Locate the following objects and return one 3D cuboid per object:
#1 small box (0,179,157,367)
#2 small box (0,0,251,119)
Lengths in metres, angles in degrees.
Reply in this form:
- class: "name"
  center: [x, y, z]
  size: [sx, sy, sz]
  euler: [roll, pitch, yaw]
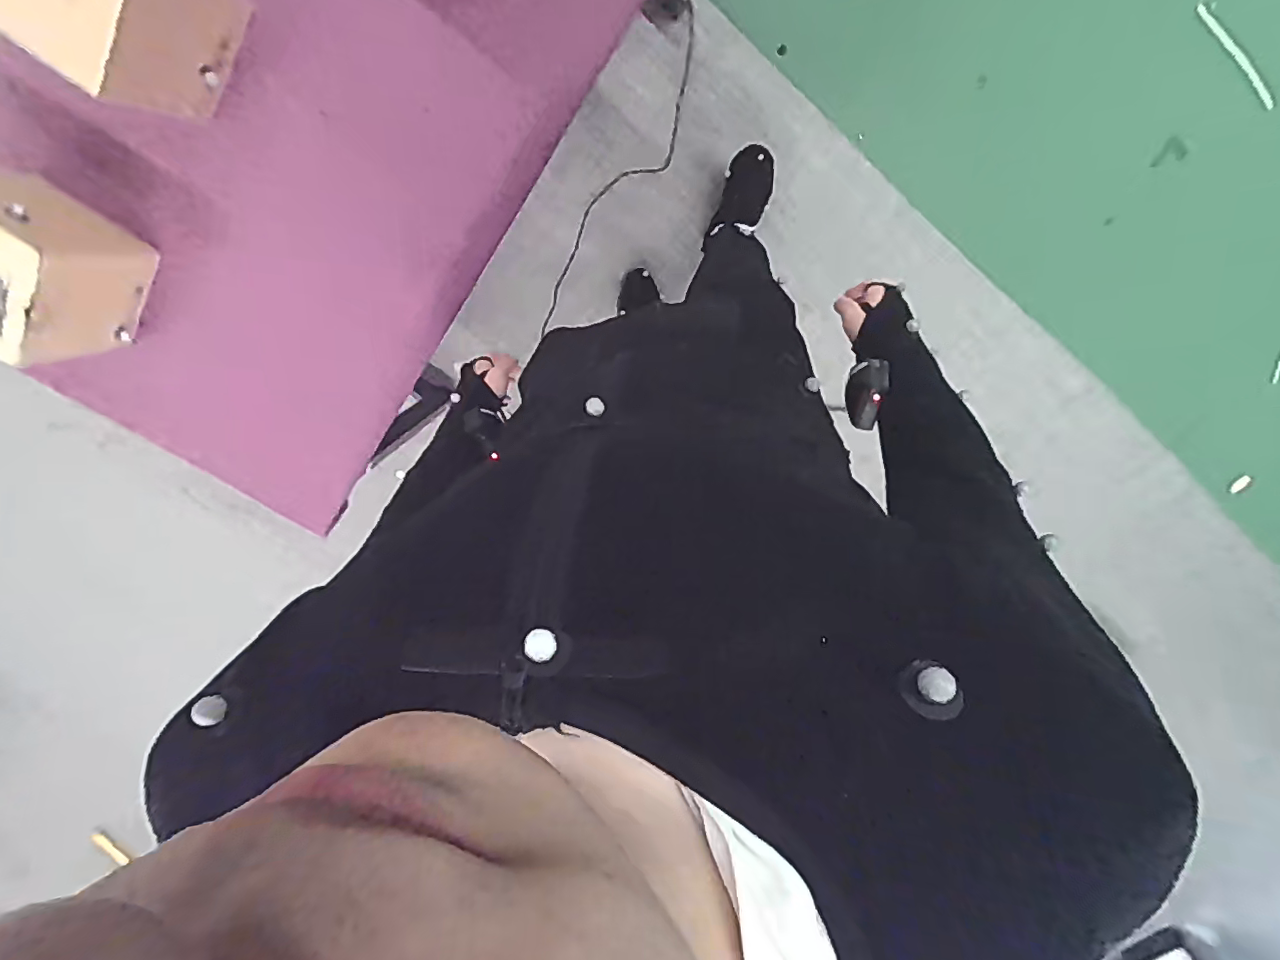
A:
- class: "small box"
  center: [-0.808, -0.279, 0.716]
  size: [0.179, 0.176, 0.168]
  euler: [34, 109, -12]
- class: "small box"
  center: [-0.594, -0.543, 0.601]
  size: [0.179, 0.176, 0.168]
  euler: [35, 110, -13]
